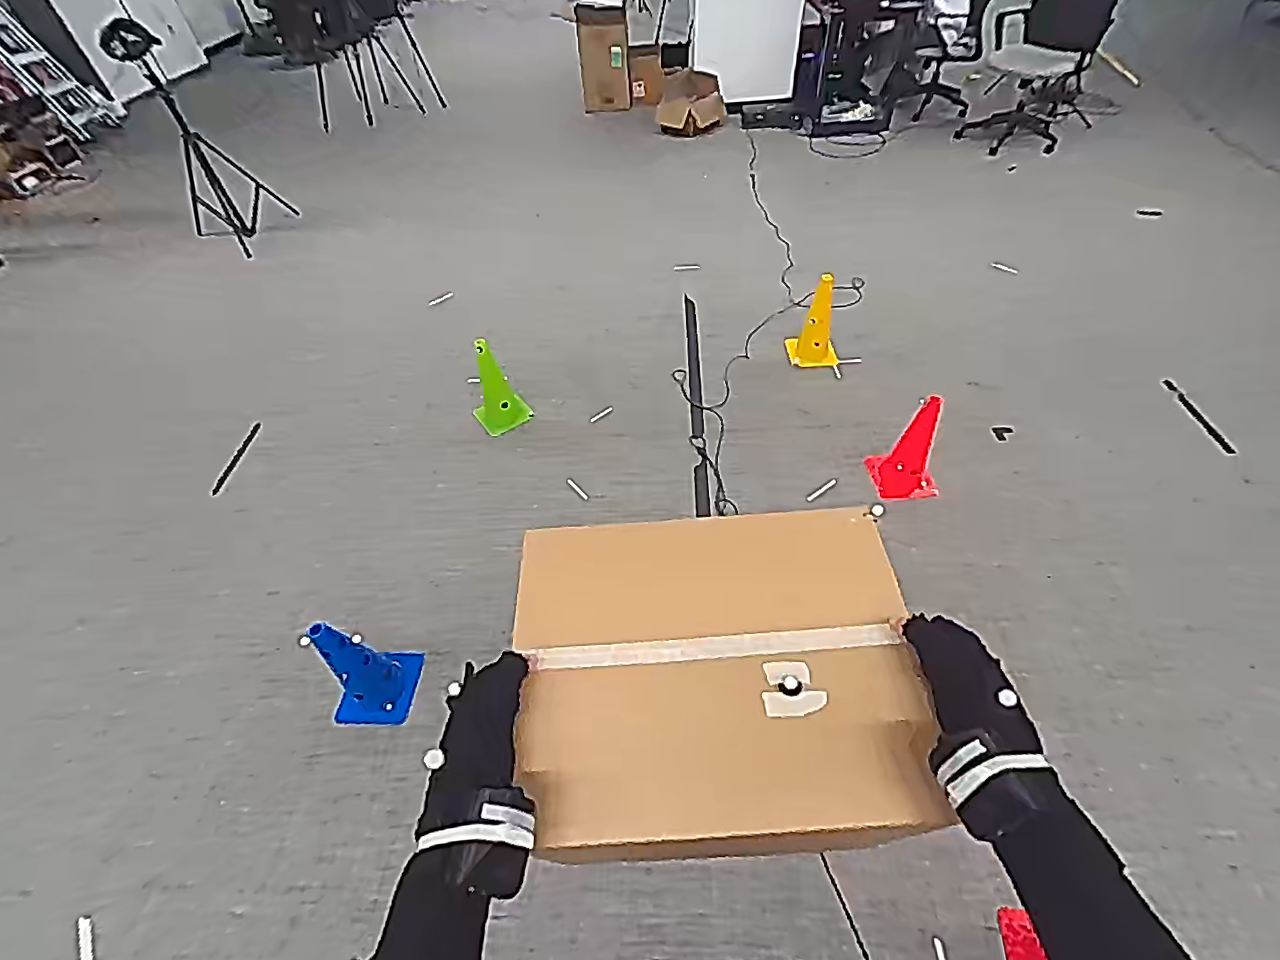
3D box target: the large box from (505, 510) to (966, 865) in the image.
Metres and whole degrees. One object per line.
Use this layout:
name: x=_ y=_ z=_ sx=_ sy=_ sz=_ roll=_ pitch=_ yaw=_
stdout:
large box: x=0.078 y=0.262 z=0.664 sx=0.408 sy=0.320 sz=0.320 roll=-4 pitch=53 yaw=0

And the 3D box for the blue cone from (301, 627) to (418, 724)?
blue cone: x=-0.743 y=0.478 z=1.393 sx=0.192 sy=0.380 sz=0.193 roll=0 pitch=49 yaw=6

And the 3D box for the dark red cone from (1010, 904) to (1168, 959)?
dark red cone: x=0.812 y=0.832 z=0.898 sx=0.201 sy=0.394 sz=0.202 roll=2 pitch=49 yaw=8

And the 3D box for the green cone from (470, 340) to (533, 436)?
green cone: x=-0.581 y=-0.387 z=2.105 sx=0.202 sy=0.368 sz=0.200 roll=-33 pitch=53 yaw=-20

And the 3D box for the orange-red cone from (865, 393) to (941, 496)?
orange-red cone: x=0.897 y=-0.136 z=1.762 sx=0.198 sy=0.360 sz=0.199 roll=-3 pitch=48 yaw=1
